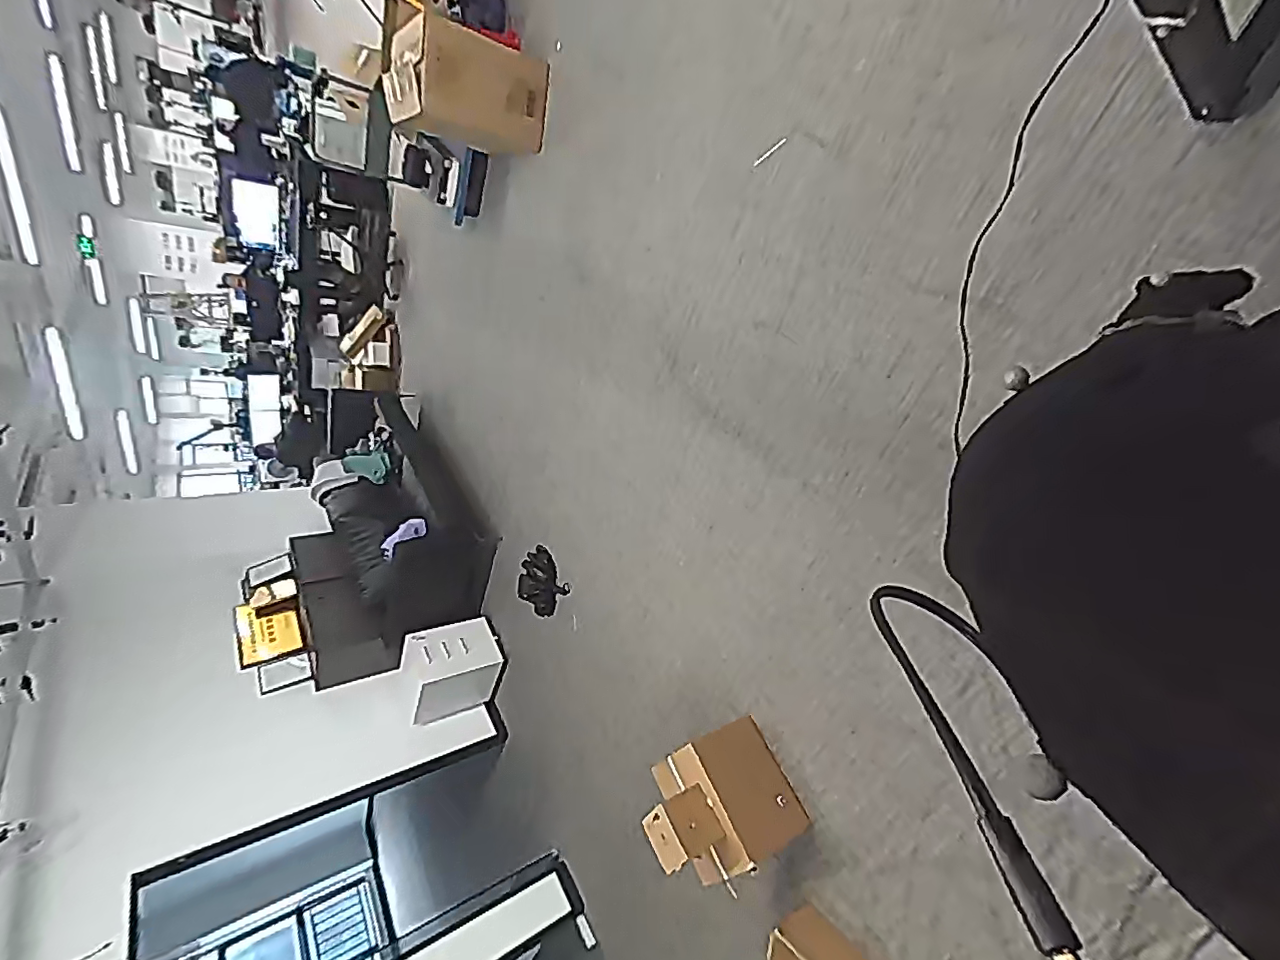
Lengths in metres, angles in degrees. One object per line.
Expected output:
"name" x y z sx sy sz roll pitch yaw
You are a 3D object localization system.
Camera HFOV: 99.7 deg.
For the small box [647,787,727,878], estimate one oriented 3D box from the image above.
"small box" 0.157 1.166 1.797 0.179 0.176 0.168 54 132 33
